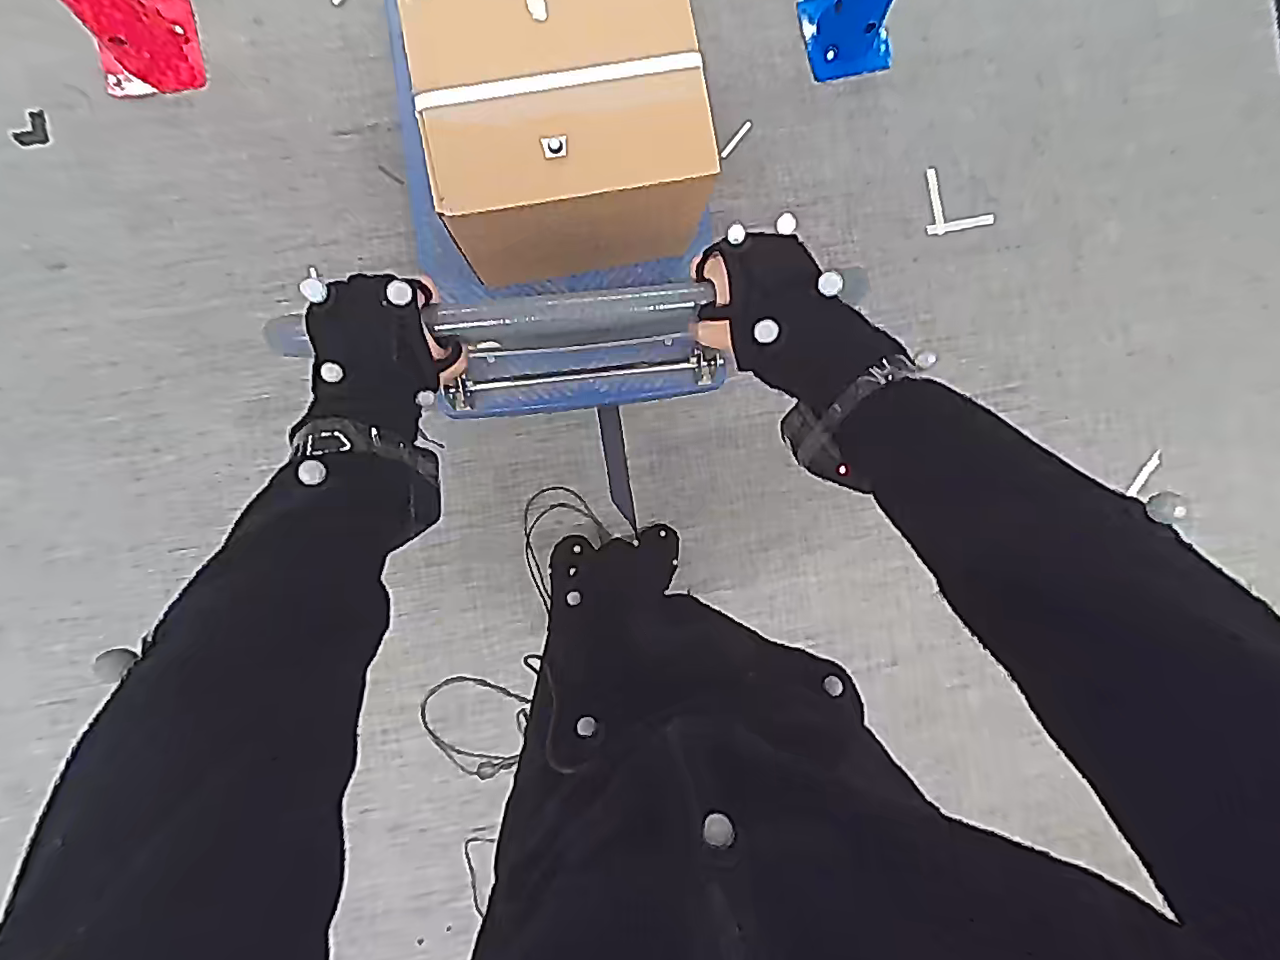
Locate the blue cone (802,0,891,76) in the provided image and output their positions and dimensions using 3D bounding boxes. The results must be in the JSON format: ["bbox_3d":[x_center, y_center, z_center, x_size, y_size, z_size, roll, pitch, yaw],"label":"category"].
[{"bbox_3d":[0.501,-1.053,1.111,0.193,0.380,0.192,-13,91,-4],"label":"blue cone"}]
